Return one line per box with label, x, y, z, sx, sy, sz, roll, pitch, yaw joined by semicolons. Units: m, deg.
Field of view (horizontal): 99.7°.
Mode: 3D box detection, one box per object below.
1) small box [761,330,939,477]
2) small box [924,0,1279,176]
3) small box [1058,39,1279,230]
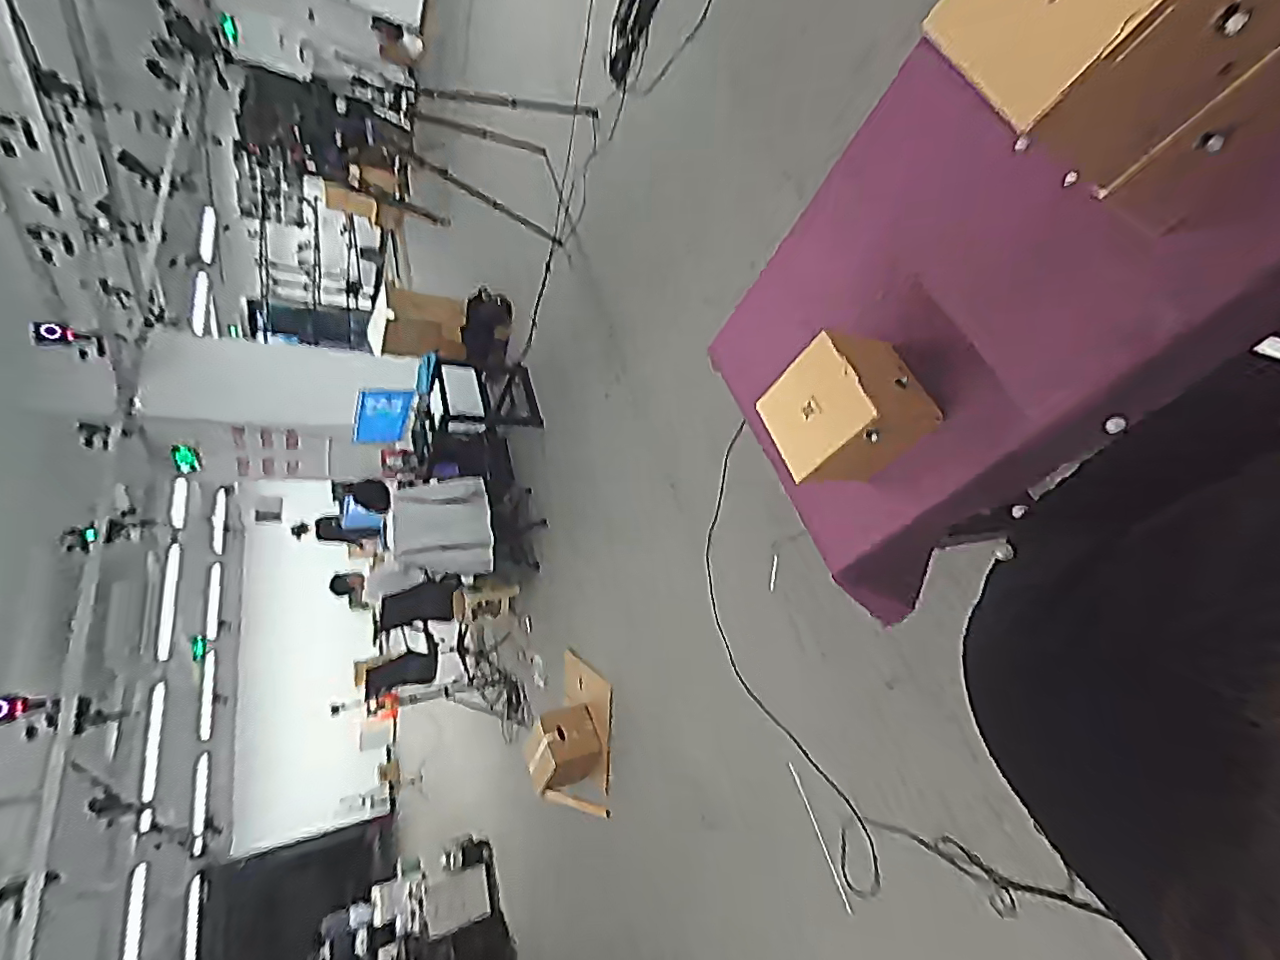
small box;0.339;-0.115;0.887;0.179;0.176;0.168;-51;48;44
small box;0.403;-0.401;0.474;0.168;0.176;0.179;-46;51;47
small box;0.544;-0.393;0.556;0.179;0.176;0.168;-48;51;47
